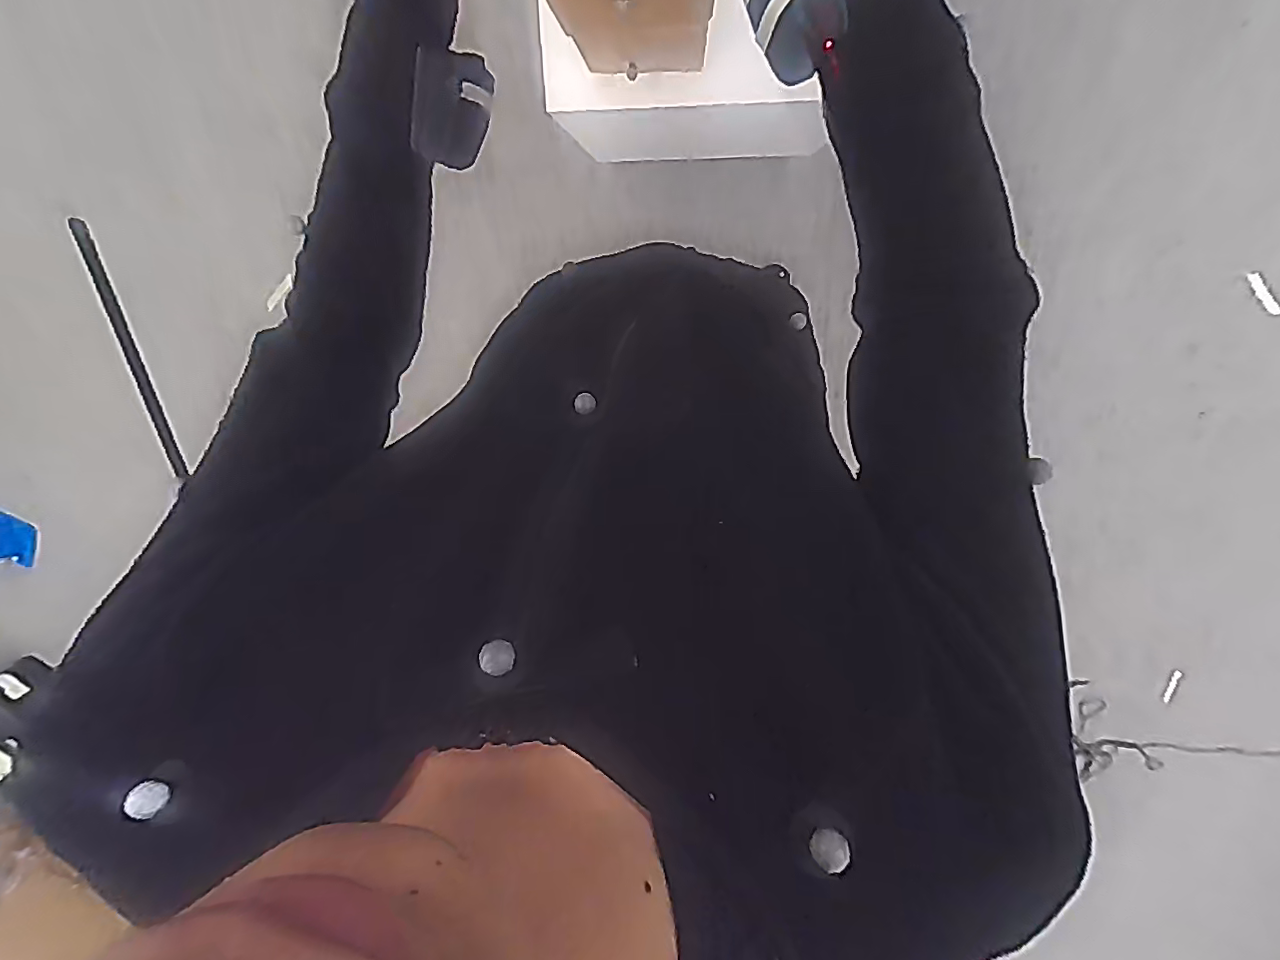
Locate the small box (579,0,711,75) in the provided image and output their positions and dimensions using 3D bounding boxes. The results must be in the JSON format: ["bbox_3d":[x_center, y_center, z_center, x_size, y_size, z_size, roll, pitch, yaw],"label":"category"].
[{"bbox_3d":[0.004,-0.634,0.671,0.168,0.176,0.179,2,113,4],"label":"small box"}]

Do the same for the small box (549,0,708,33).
[{"bbox_3d":[-0.013,-0.568,0.521,0.179,0.176,0.168,-2,112,7],"label":"small box"}]
